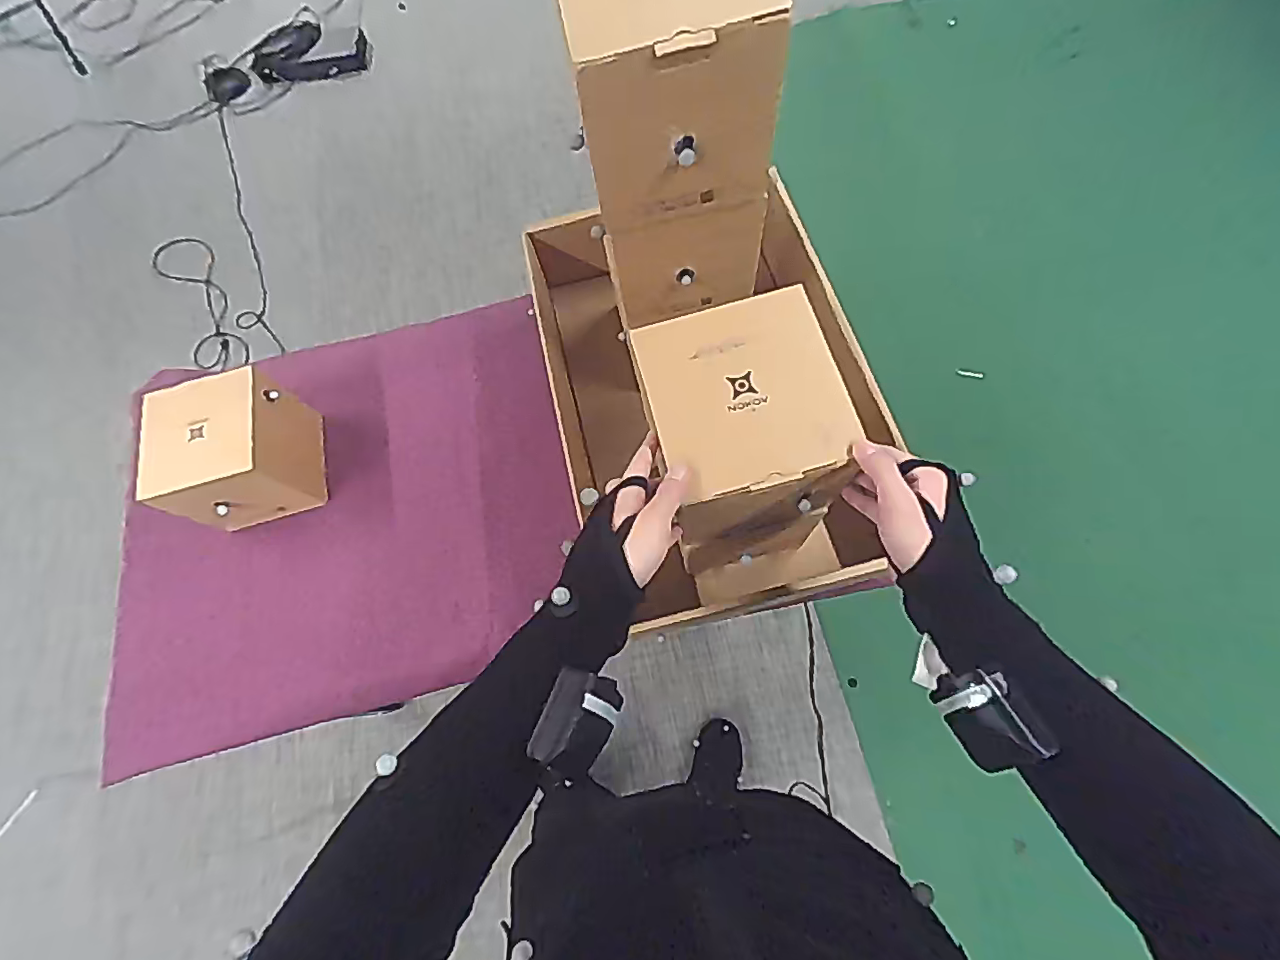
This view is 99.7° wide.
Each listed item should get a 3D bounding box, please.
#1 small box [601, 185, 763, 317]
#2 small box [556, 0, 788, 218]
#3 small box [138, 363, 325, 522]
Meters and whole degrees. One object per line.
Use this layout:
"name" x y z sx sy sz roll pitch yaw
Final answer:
"small box" 0.039 -0.318 0.650 0.168 0.176 0.179 -12 70 1
"small box" 0.022 -0.370 0.495 0.168 0.176 0.179 -12 71 1
"small box" -0.617 -0.046 0.839 0.168 0.176 0.179 -16 68 -1
